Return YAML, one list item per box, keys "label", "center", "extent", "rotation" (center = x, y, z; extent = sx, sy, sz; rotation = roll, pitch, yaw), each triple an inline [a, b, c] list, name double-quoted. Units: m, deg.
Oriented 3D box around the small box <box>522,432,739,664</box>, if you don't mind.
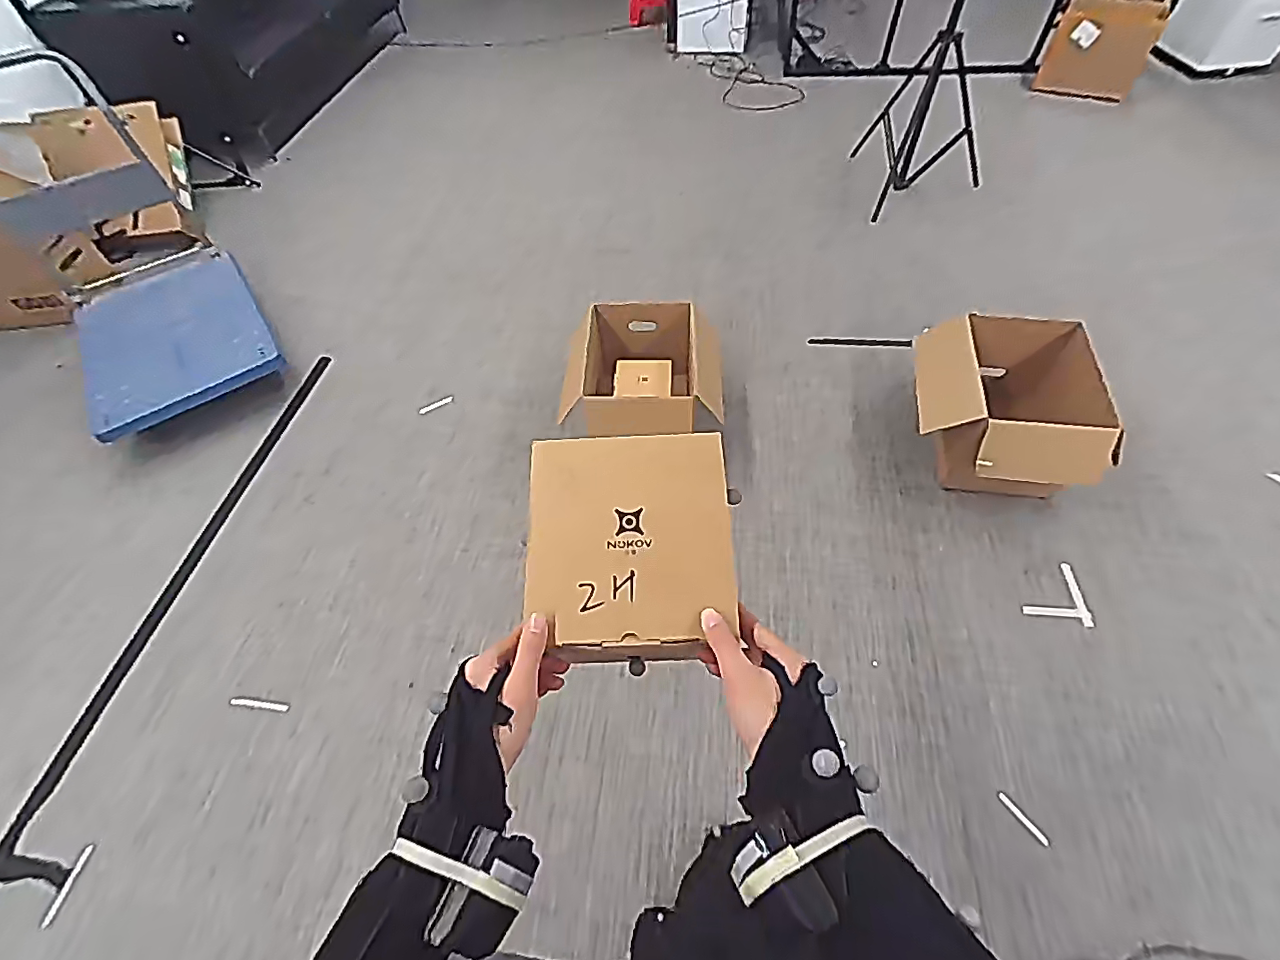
- label: "small box"
  center: [-0.006, 0.072, 0.510]
  extent: [0.168, 0.176, 0.179]
  rotation: [-3, 66, 2]
